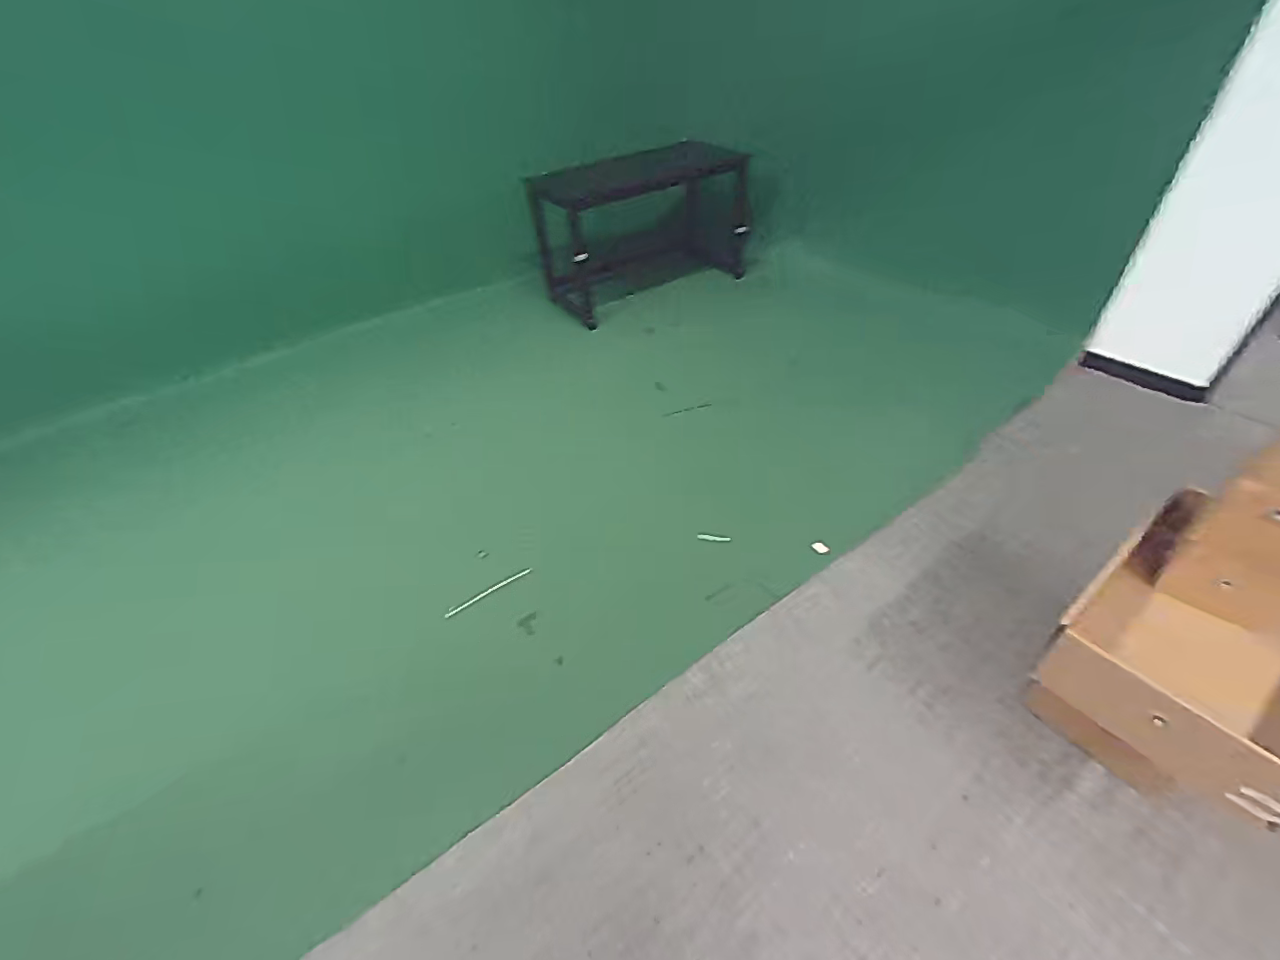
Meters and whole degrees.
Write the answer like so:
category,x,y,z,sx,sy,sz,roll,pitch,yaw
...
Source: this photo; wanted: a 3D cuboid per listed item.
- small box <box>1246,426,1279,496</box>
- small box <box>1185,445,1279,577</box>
category,x,y,z,sx,sy,sz,roll,pitch,yaw
small box,1.254,-0.058,0.963,0.179,0.176,0.168,-33,47,-25
small box,1.256,0.065,1.073,0.168,0.176,0.179,-34,48,-27
